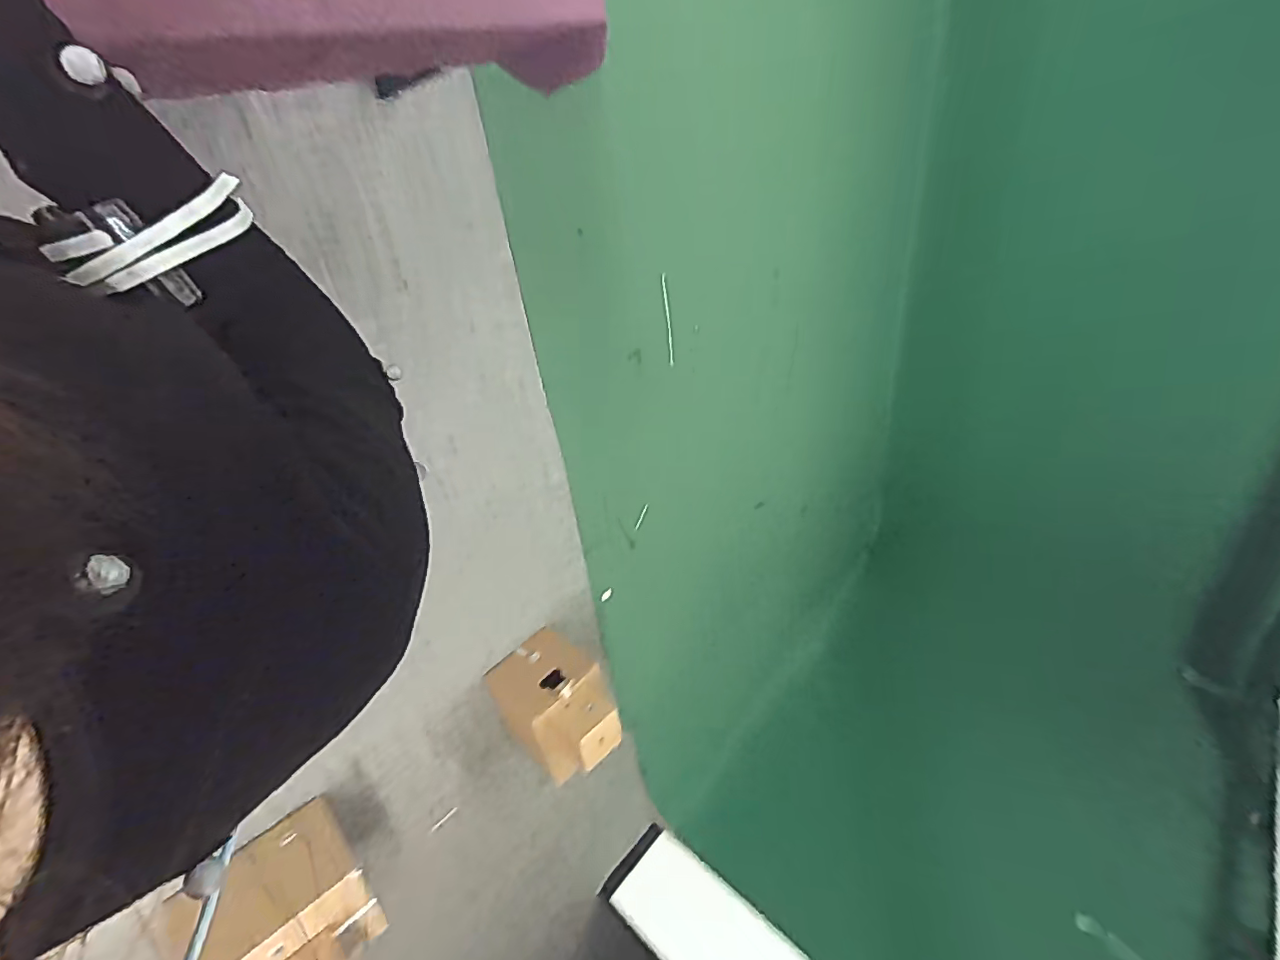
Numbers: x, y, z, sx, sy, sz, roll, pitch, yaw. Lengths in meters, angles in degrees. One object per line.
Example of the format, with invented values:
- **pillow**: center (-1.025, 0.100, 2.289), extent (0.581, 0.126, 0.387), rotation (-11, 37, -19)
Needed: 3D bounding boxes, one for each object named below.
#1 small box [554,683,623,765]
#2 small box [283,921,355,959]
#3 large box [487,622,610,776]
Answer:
- **small box**: center (-0.183, 0.840, 1.888), extent (0.168, 0.176, 0.179), rotation (-31, 128, -35)
- **small box**: center (-0.819, 1.295, 1.375), extent (0.179, 0.176, 0.168), rotation (-25, 126, -40)
- **large box**: center (-0.336, 0.839, 2.099), extent (0.320, 0.320, 0.408), rotation (-35, 130, -34)
